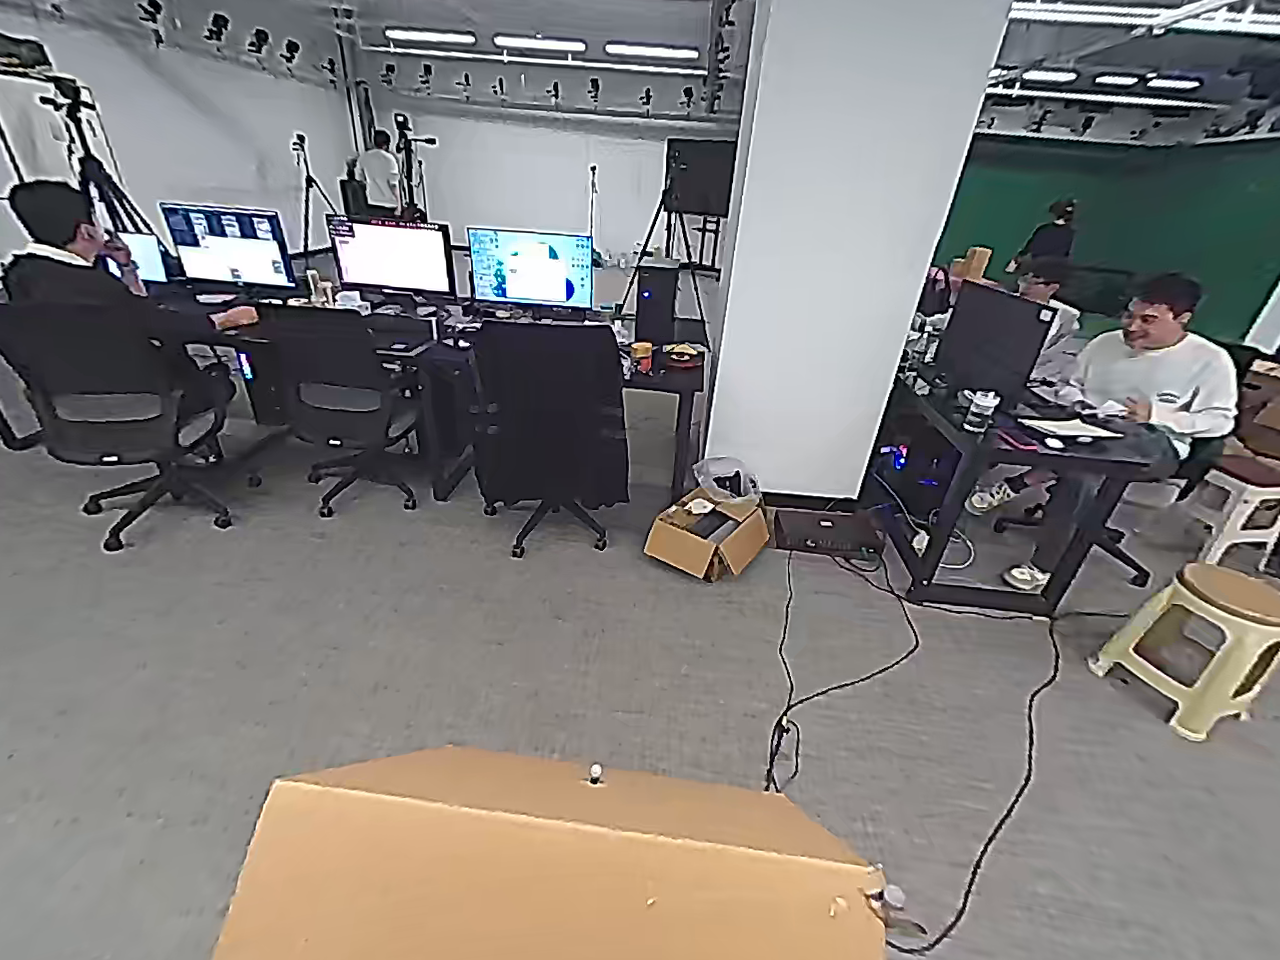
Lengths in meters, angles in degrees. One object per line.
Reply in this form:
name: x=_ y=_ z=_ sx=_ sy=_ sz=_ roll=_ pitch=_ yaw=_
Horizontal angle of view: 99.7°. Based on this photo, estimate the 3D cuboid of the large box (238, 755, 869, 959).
large box: x=-0.062 y=0.428 z=0.447 sx=0.408 sy=0.320 sz=0.320 roll=5 pitch=69 yaw=4
